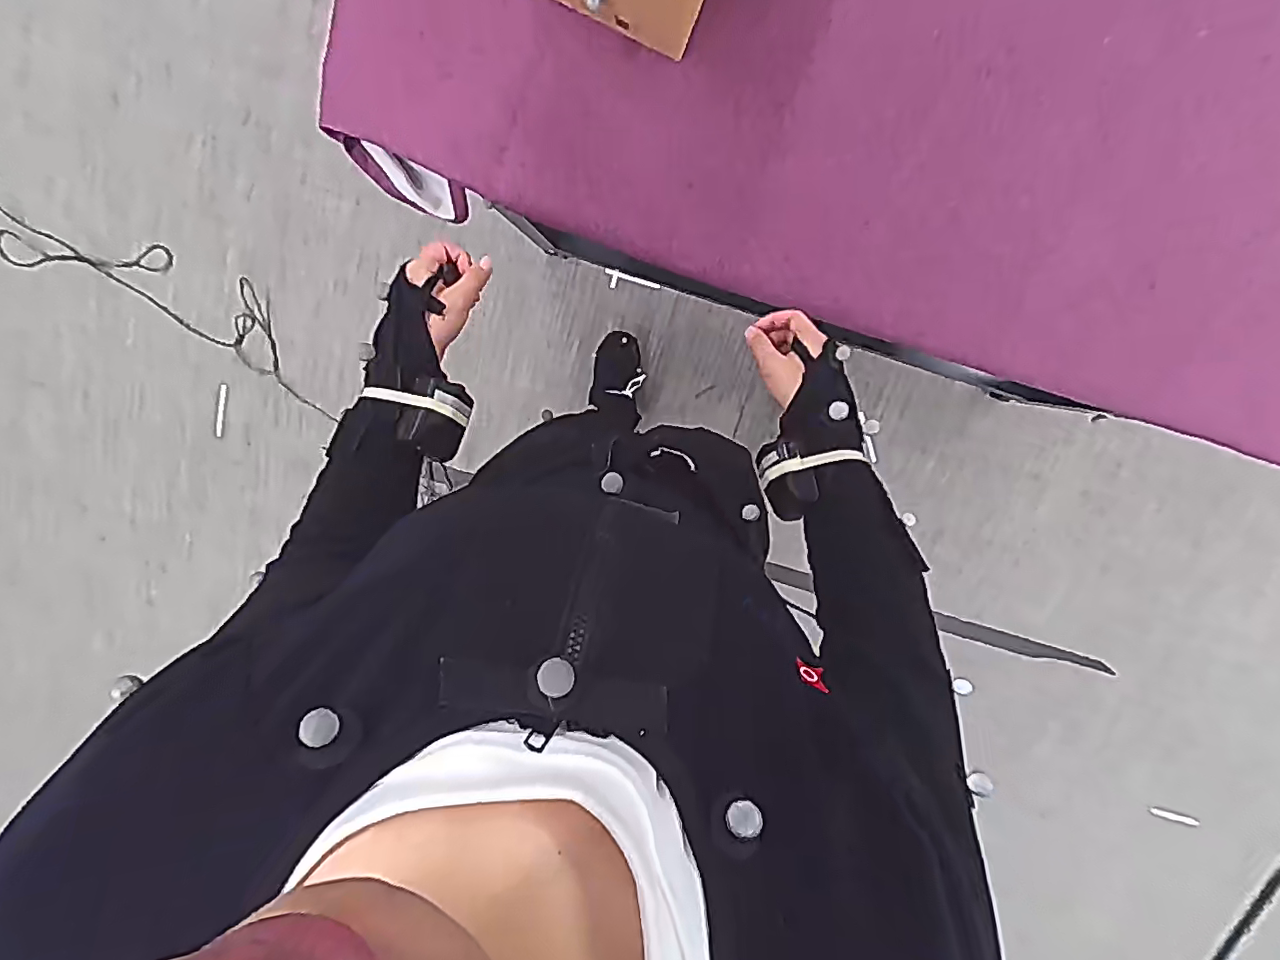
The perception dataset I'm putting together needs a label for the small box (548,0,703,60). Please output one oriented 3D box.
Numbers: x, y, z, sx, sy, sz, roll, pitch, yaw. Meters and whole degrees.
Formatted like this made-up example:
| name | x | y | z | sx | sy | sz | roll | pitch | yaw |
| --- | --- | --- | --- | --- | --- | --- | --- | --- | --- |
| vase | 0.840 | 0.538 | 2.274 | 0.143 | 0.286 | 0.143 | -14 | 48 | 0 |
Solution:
| name | x | y | z | sx | sy | sz | roll | pitch | yaw |
| --- | --- | --- | --- | --- | --- | --- | --- | --- | --- |
| small box | -0.003 | -0.504 | 0.437 | 0.168 | 0.176 | 0.179 | 23 | 103 | -5 |
